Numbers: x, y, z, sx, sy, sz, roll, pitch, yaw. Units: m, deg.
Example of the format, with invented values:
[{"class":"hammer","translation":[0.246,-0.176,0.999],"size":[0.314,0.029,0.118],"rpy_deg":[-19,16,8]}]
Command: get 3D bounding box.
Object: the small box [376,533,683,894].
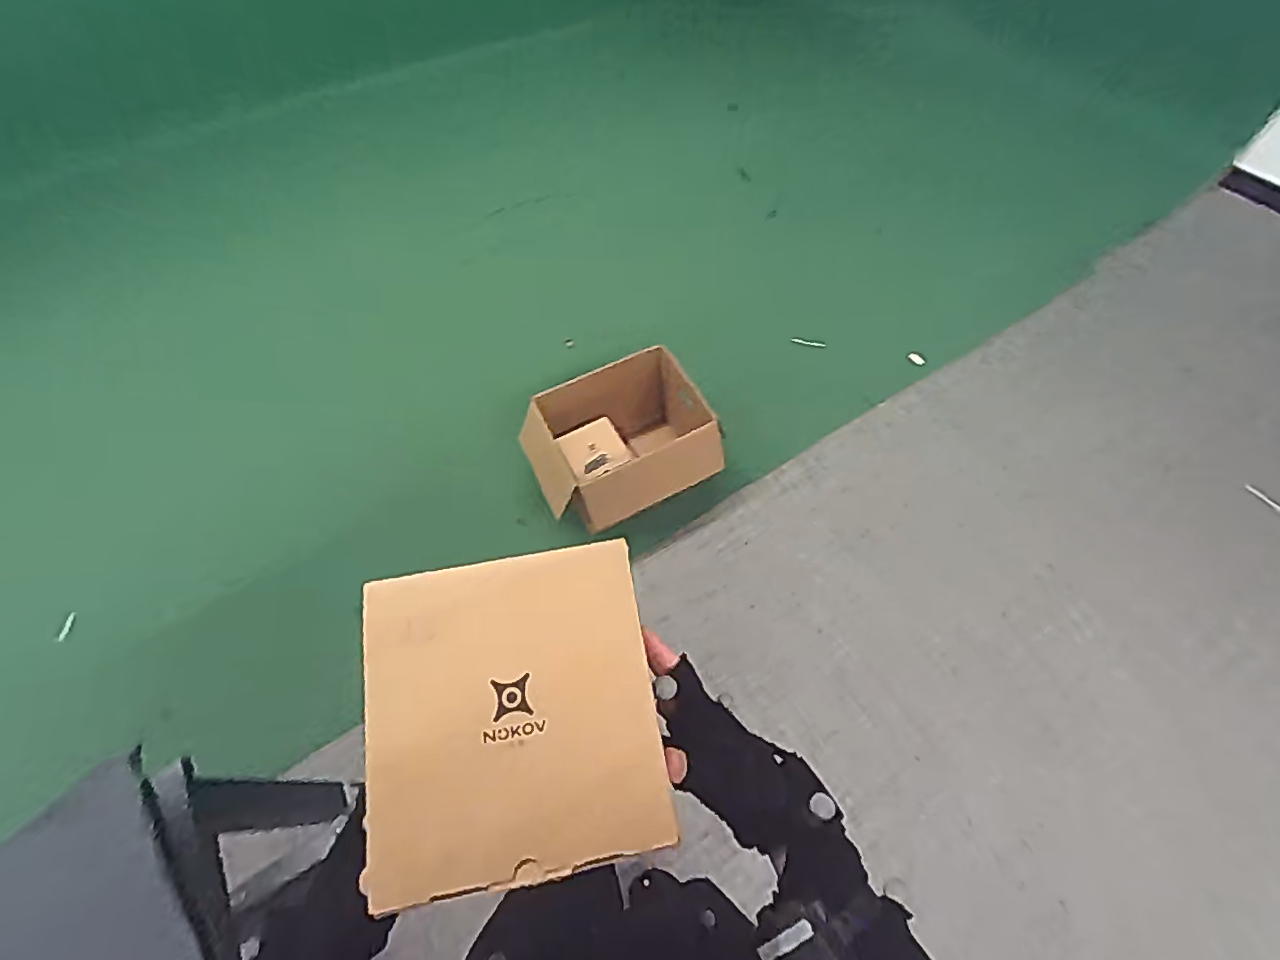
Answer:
[{"class":"small box","translation":[-0.074,0.152,0.391],"size":[0.168,0.176,0.179],"rpy_deg":[-8,72,-6]}]
